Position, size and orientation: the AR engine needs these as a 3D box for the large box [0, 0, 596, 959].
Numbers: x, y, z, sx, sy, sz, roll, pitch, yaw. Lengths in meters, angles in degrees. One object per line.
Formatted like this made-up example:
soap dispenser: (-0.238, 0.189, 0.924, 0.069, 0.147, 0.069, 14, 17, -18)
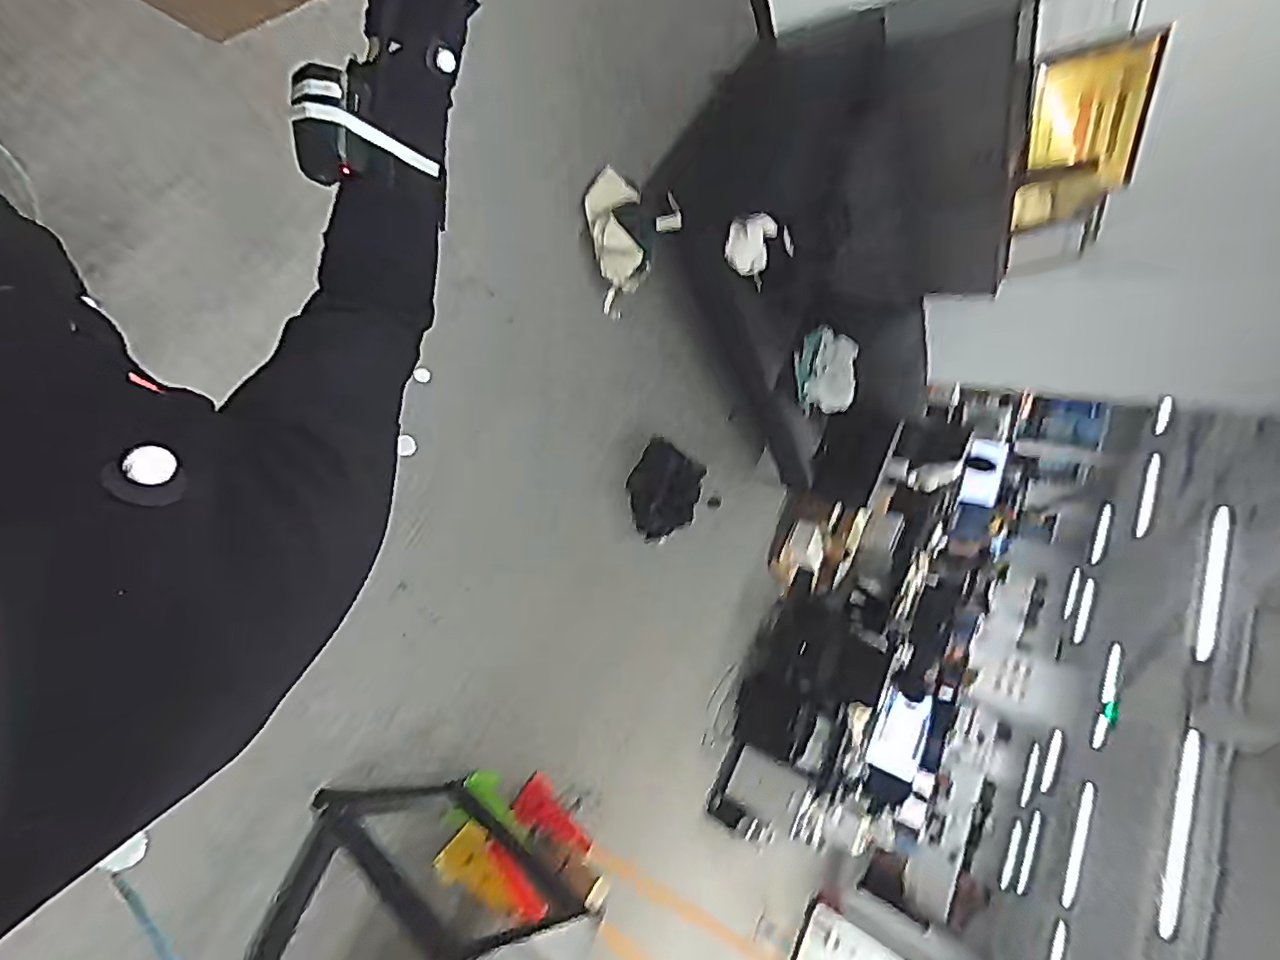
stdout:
large box: (-0.241, 0.057, 0.306, 0.320, 0.320, 0.408, 20, 54, -24)
